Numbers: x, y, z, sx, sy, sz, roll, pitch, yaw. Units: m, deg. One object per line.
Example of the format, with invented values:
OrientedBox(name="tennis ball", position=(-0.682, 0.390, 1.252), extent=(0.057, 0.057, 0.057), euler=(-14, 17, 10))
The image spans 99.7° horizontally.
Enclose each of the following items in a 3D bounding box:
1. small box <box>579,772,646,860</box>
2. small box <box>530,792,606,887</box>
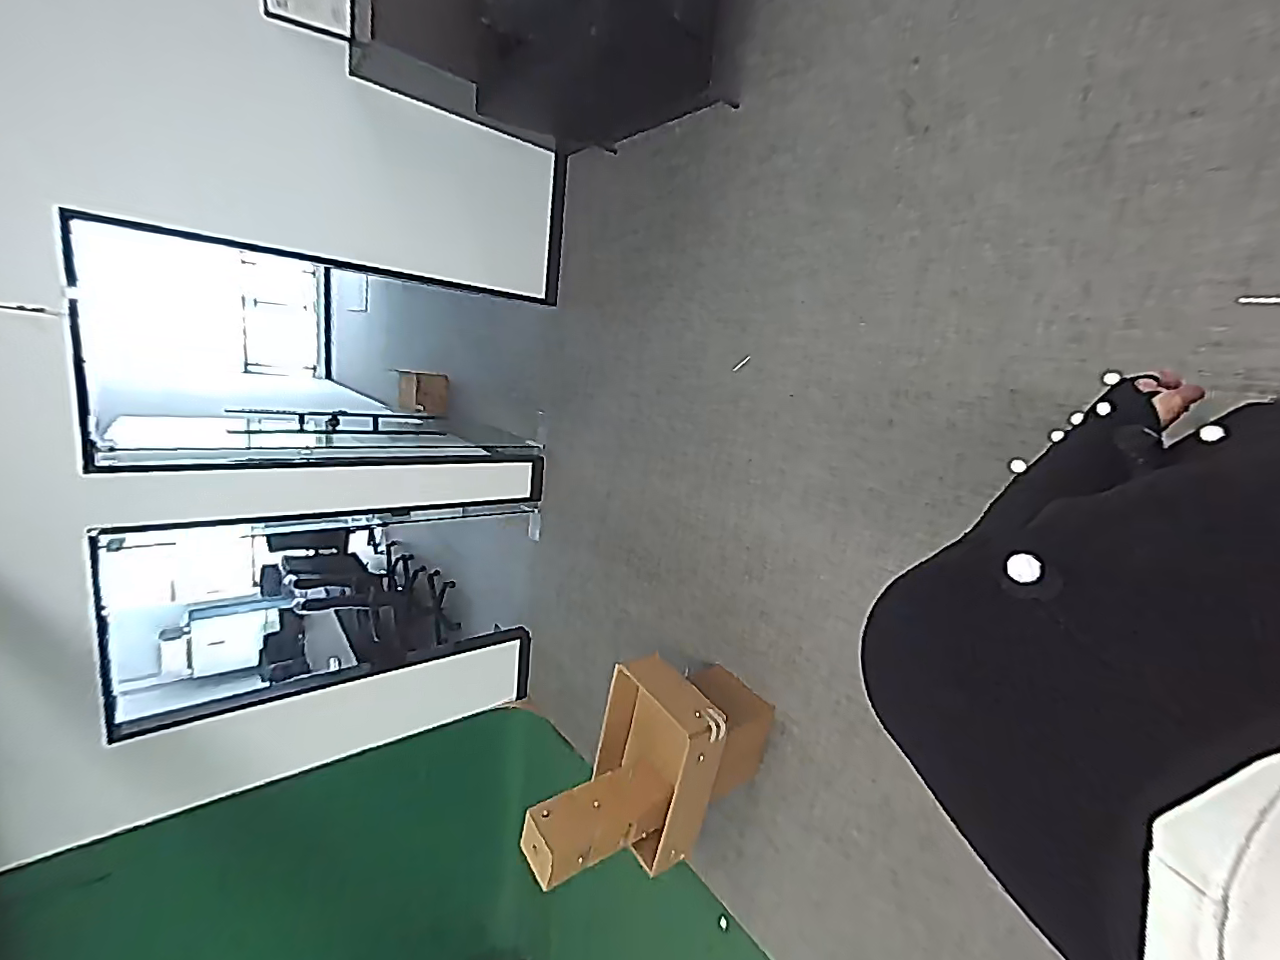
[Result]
OrientedBox(name="small box", position=(-0.108, 1.148, 1.870), extent=(0.179, 0.176, 0.168), euler=(31, 117, 44))
OrientedBox(name="small box", position=(-0.237, 1.159, 1.767), extent=(0.179, 0.176, 0.168), euler=(32, 118, 43))
